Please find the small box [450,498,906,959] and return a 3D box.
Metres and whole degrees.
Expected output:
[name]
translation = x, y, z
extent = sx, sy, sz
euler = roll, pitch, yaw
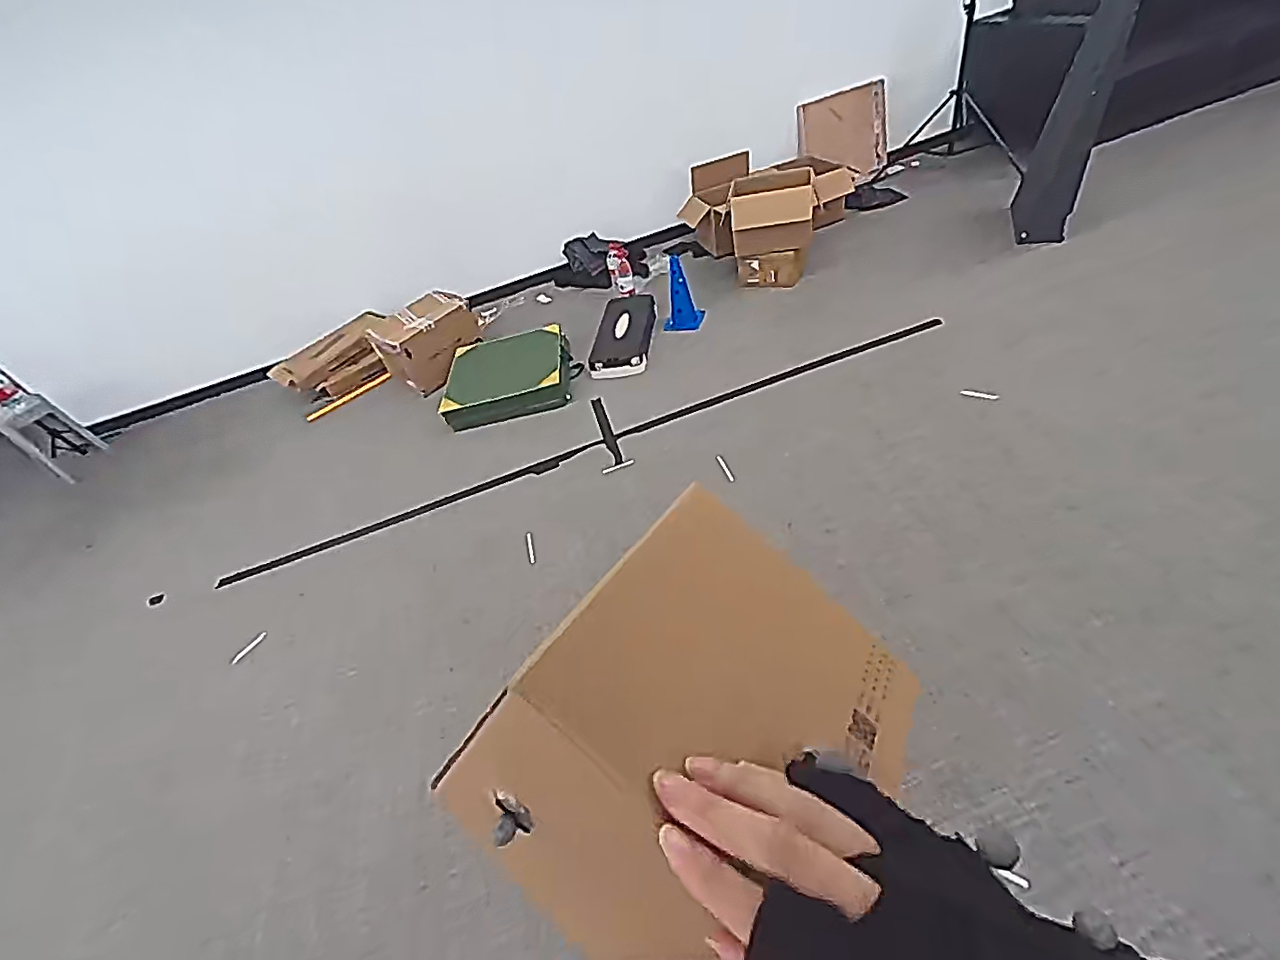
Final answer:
[small box]
translation = 0.020, 0.151, 0.325
extent = 0.176, 0.179, 0.168
euler = 41, 43, 5
